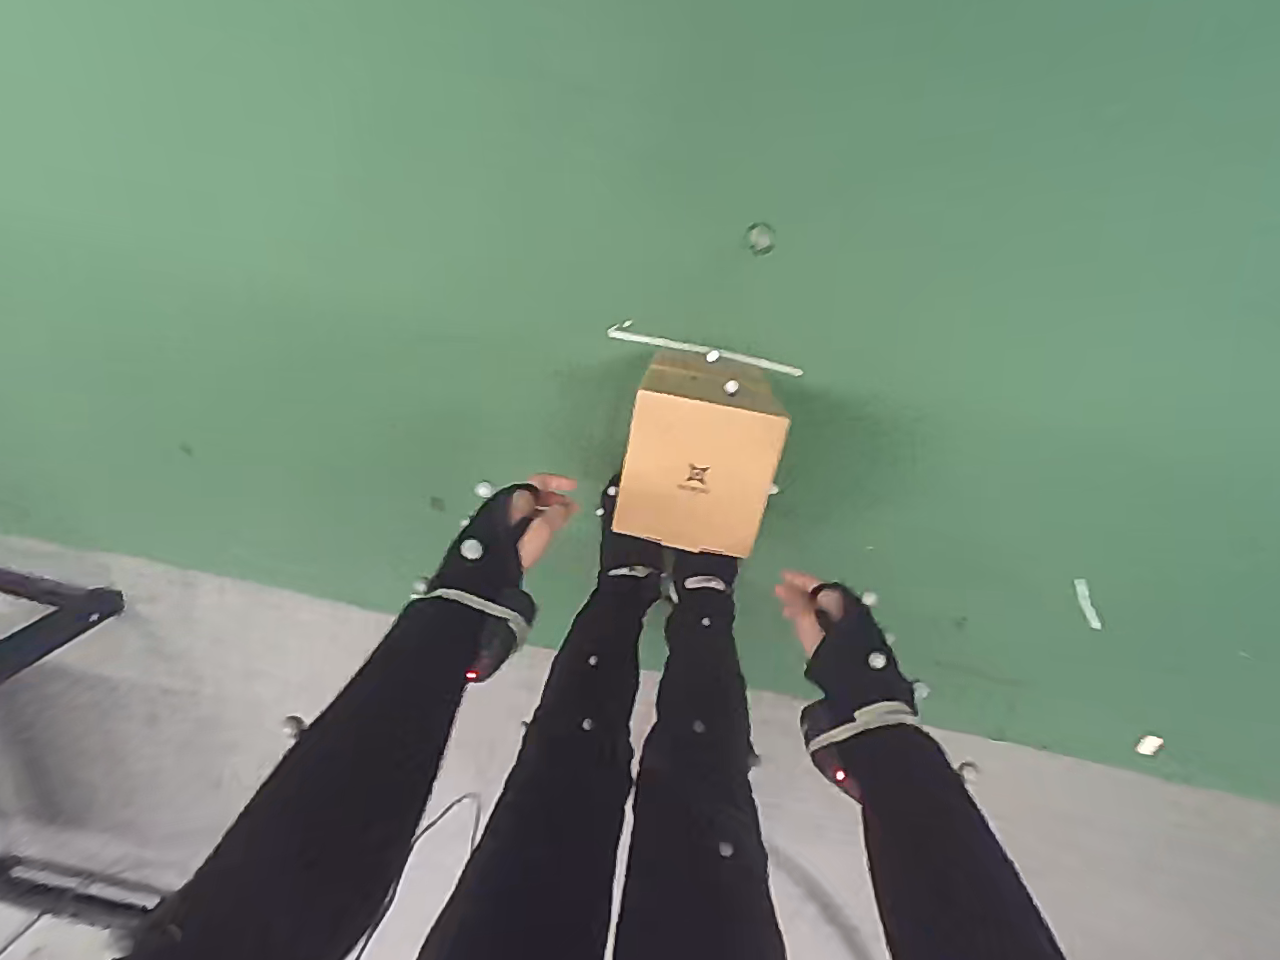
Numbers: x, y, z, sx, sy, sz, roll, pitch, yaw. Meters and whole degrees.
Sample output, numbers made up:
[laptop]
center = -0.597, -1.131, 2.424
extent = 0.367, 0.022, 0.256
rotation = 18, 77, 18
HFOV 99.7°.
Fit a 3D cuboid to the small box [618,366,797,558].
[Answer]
[small box]
center = 0.075, -0.033, 0.670
extent = 0.168, 0.176, 0.179
rotation = 12, 112, 0
